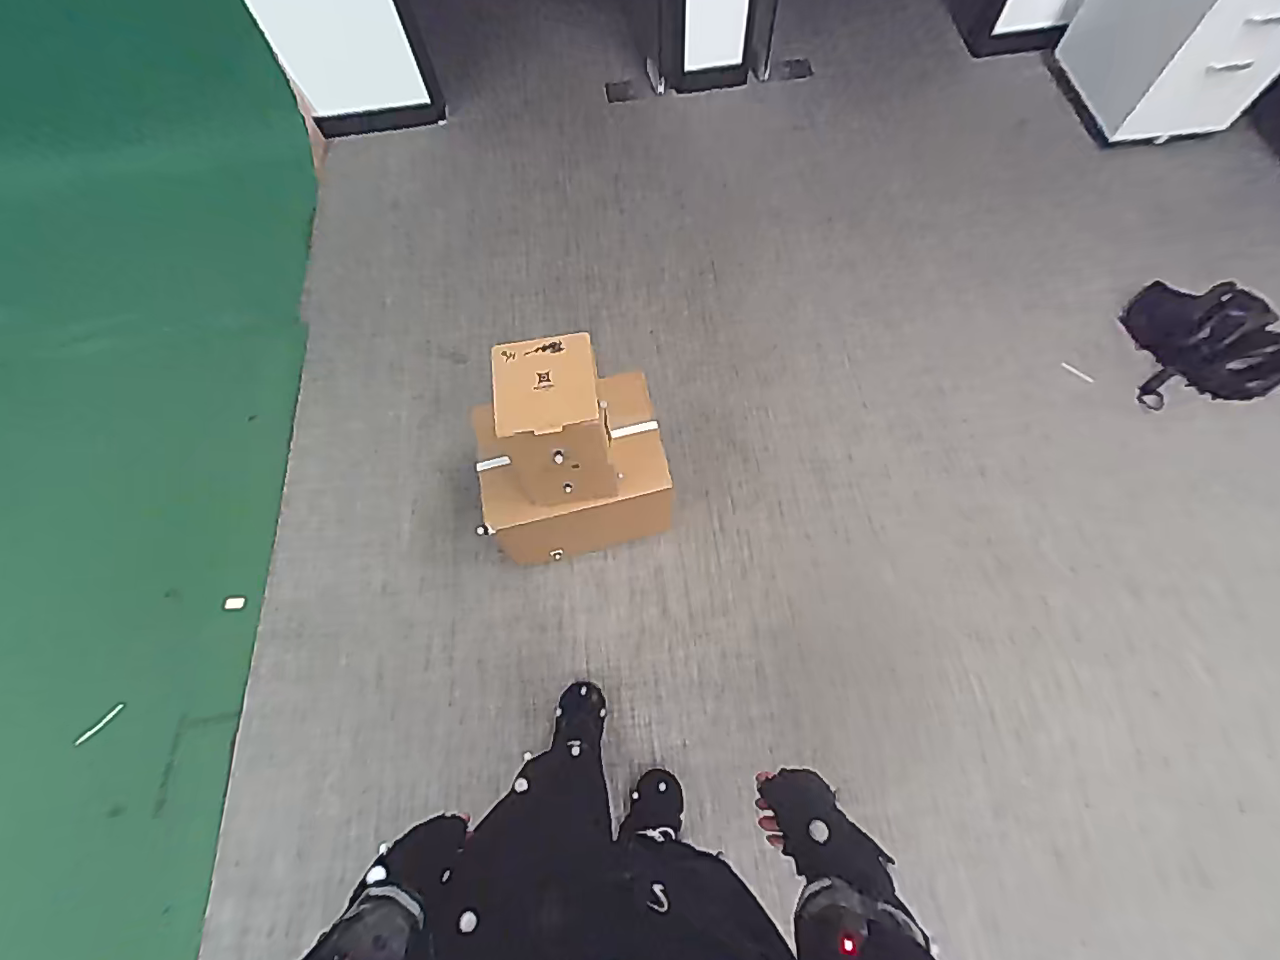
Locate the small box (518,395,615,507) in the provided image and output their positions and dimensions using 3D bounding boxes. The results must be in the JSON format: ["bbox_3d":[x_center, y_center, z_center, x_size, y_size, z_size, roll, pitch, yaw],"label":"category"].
[{"bbox_3d":[-0.146,-0.055,1.106,0.179,0.176,0.168,-8,67,0],"label":"small box"}]

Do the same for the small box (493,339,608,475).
[{"bbox_3d":[-0.153,-0.119,0.956,0.168,0.176,0.179,-9,67,-1],"label":"small box"}]
